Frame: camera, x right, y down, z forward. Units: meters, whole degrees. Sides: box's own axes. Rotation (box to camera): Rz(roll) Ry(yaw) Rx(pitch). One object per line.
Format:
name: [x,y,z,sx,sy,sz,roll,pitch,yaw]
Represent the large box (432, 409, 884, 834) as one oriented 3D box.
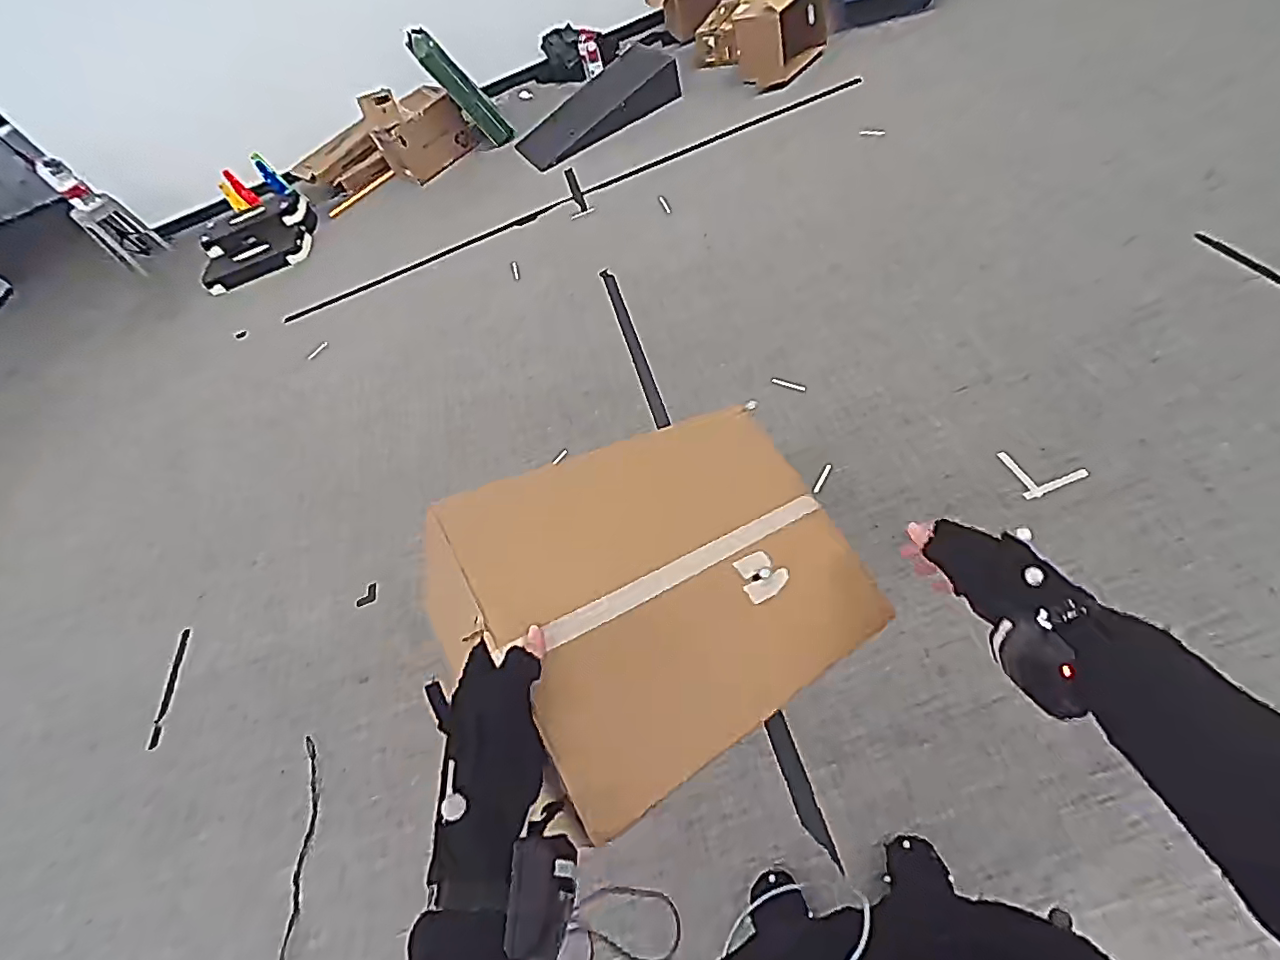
large box: [-0.003,0.164,0.674,0.408,0.320,0.320,-20,70,-31]
